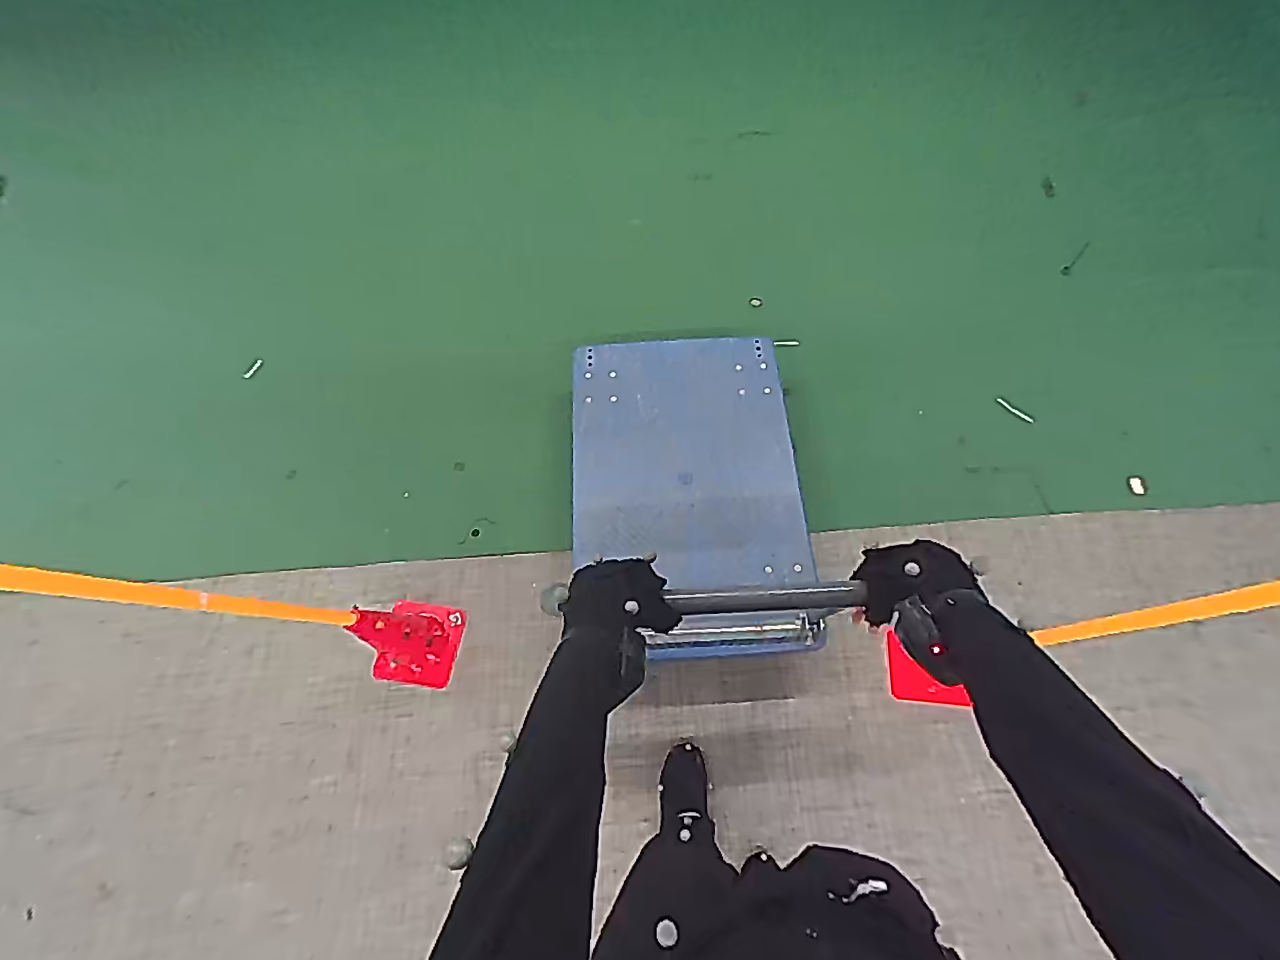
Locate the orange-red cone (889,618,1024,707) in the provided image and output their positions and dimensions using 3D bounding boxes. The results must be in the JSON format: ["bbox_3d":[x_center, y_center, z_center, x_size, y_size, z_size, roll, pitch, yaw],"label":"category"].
[{"bbox_3d":[0.722,0.383,1.194,0.198,0.360,0.199,6,67,4],"label":"orange-red cone"}]
